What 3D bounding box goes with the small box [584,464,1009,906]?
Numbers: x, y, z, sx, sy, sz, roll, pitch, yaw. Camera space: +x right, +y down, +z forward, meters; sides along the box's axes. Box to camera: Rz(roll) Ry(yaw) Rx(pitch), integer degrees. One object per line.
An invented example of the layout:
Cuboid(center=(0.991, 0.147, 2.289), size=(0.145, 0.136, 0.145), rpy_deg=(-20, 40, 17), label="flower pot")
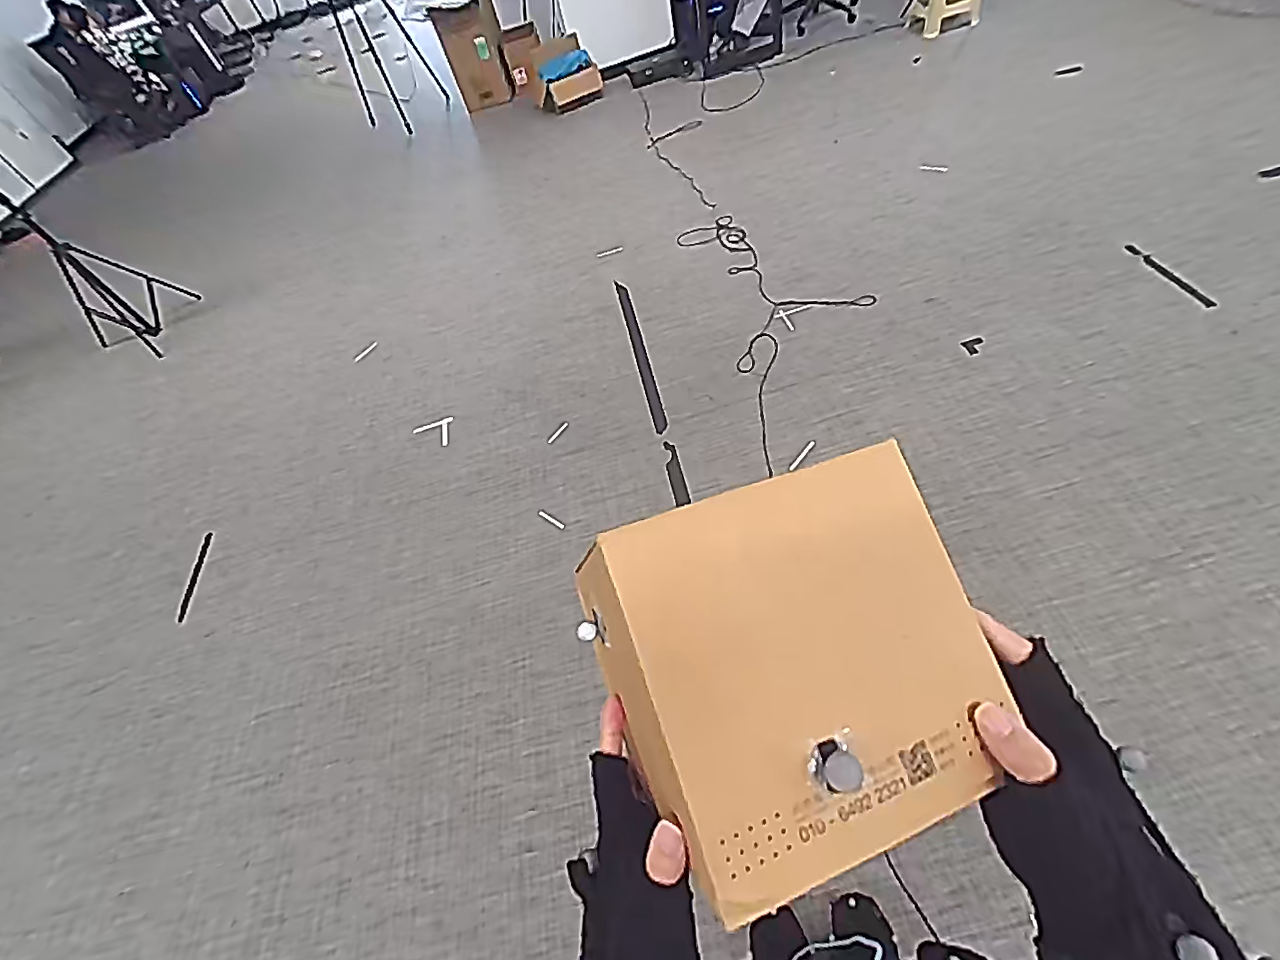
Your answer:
Cuboid(center=(0.071, 0.111, 0.339), size=(0.168, 0.179, 0.176), rpy_deg=(-17, 79, -14), label="small box")
